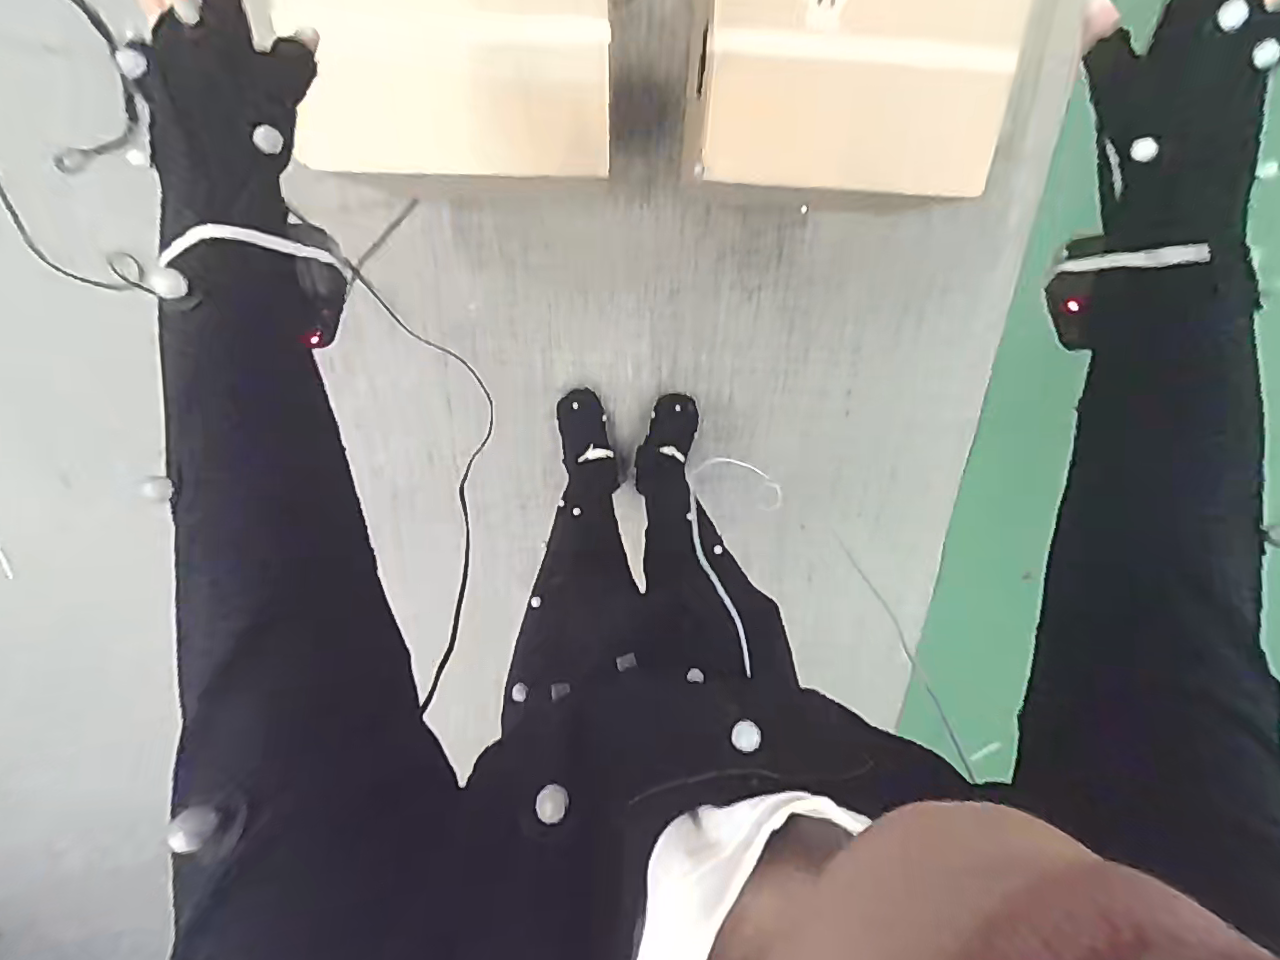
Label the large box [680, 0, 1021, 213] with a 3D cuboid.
[{"bbox_3d":[0.288,-0.612,0.859,0.408,0.320,0.320,2,111,-3],"label":"large box"}]
